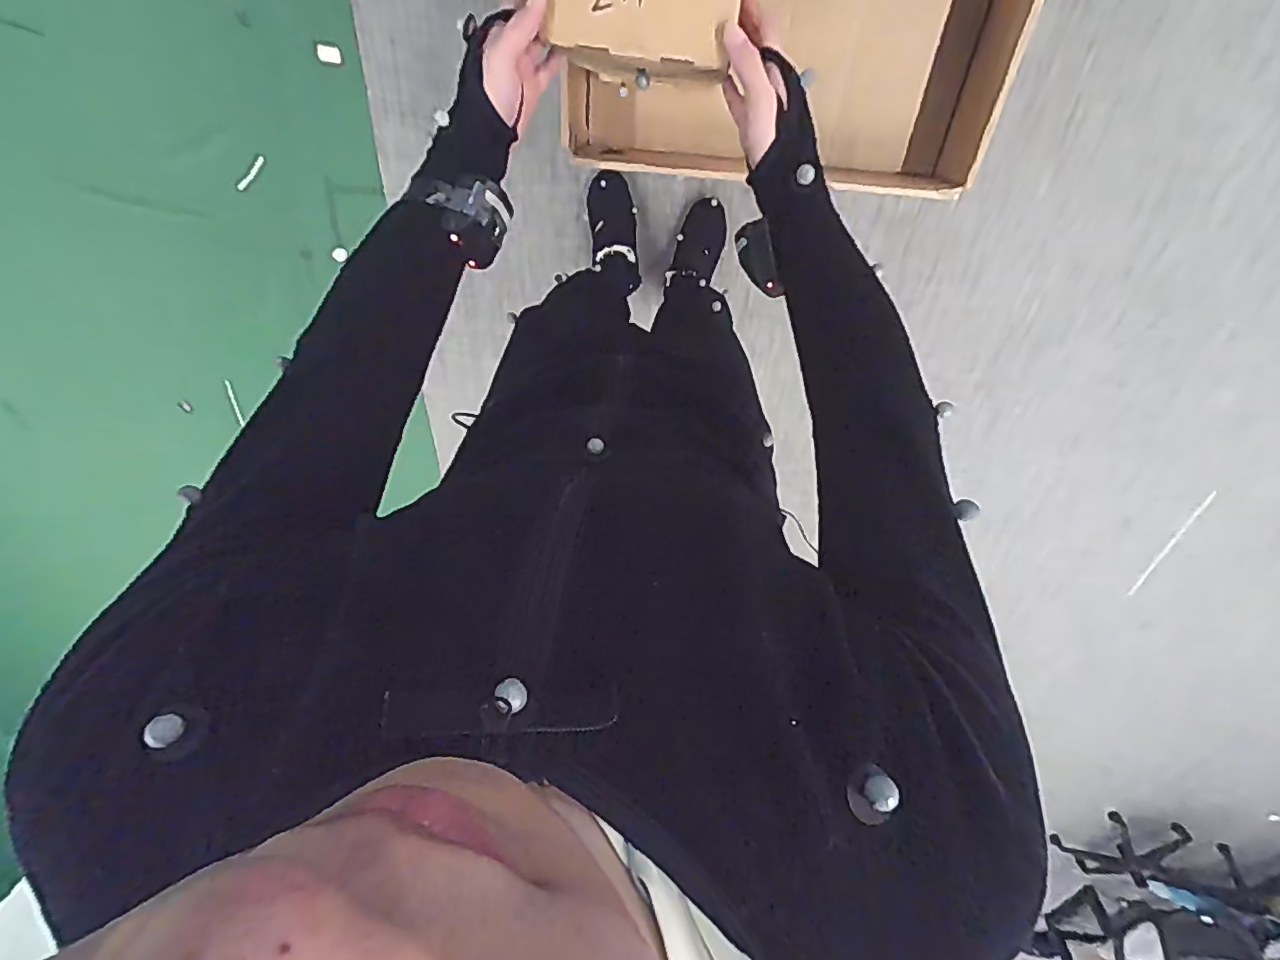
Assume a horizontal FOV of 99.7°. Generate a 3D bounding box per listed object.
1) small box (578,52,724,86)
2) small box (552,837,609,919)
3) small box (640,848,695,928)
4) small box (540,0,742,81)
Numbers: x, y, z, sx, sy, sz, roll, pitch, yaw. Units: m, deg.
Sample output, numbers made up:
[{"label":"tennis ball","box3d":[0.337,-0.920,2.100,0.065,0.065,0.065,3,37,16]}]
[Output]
[{"label":"small box","box3d":[0.027,-0.569,0.616,0.168,0.176,0.179,8,124,1]},{"label":"small box","box3d":[-0.194,1.326,1.803,0.168,0.176,0.179,3,125,2]},{"label":"small box","box3d":[0.090,1.349,1.793,0.168,0.176,0.179,4,126,2]},{"label":"small box","box3d":[0.014,-0.478,0.477,0.168,0.176,0.179,9,123,0]}]
